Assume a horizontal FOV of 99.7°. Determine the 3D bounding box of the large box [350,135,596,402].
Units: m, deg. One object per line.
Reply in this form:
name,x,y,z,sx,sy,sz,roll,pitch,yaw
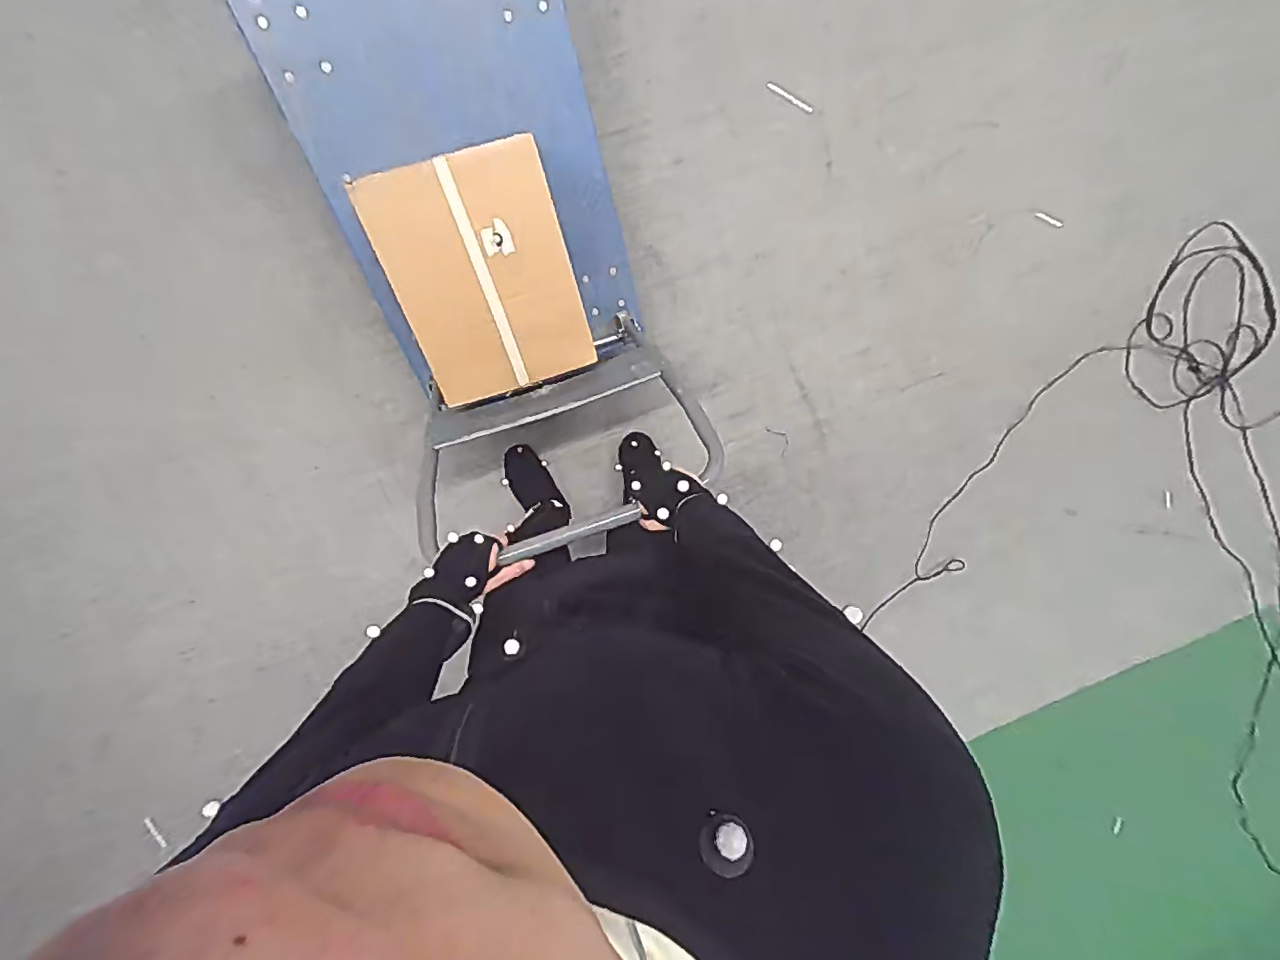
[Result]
large box,-0.310,-0.431,1.109,0.320,0.320,0.408,-18,121,-5
